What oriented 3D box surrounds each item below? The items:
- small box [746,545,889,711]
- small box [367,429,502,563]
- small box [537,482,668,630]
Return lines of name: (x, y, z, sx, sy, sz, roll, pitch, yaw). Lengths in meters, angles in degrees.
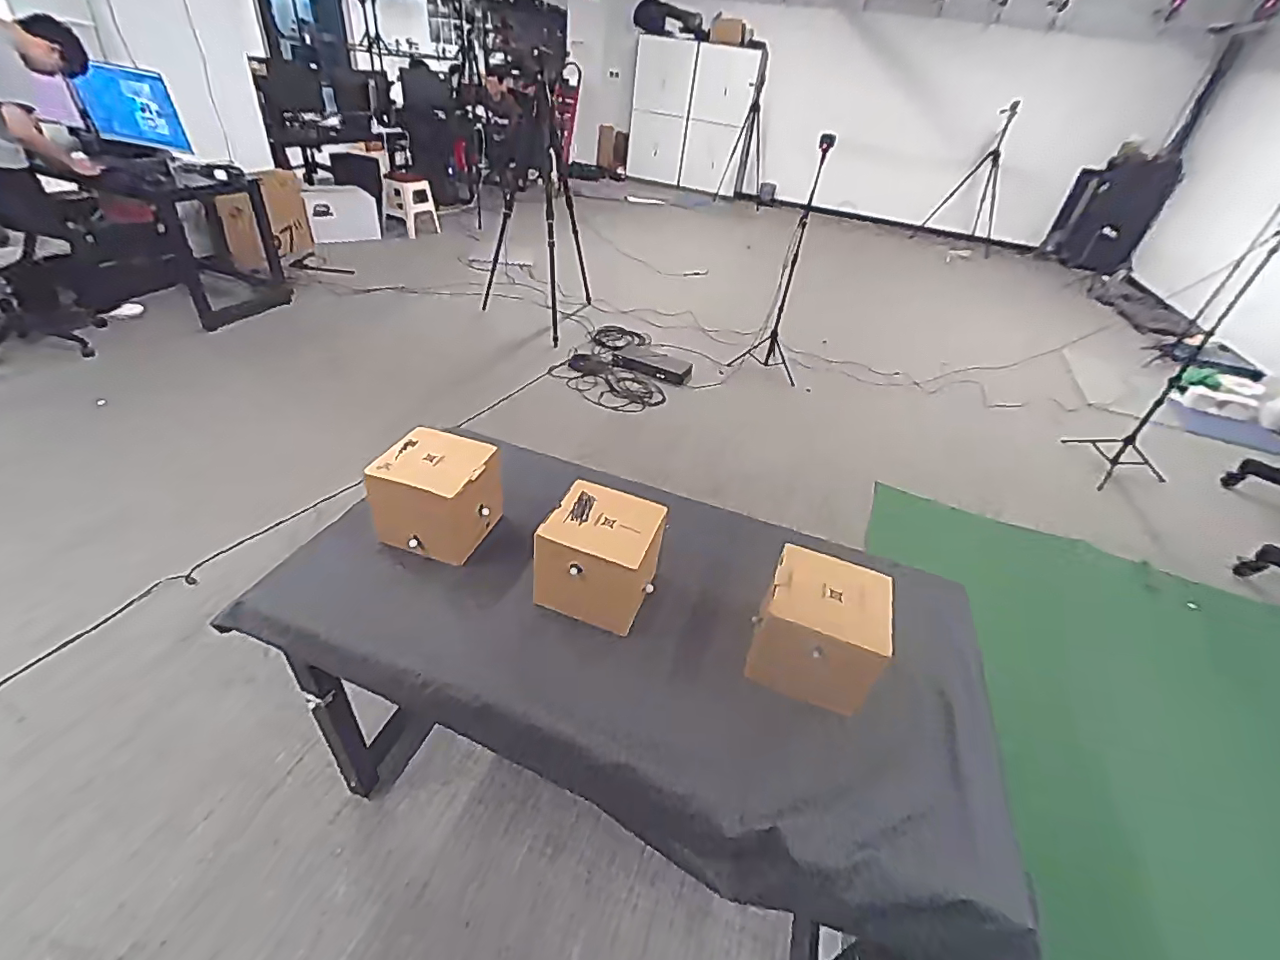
small box: (0.285, 0.241, 0.880, 0.179, 0.176, 0.168, 19, 39, 12)
small box: (-0.376, 0.032, 1.025, 0.179, 0.176, 0.168, 16, 37, 9)
small box: (-0.067, 0.134, 0.950, 0.179, 0.176, 0.168, 17, 38, 11)
